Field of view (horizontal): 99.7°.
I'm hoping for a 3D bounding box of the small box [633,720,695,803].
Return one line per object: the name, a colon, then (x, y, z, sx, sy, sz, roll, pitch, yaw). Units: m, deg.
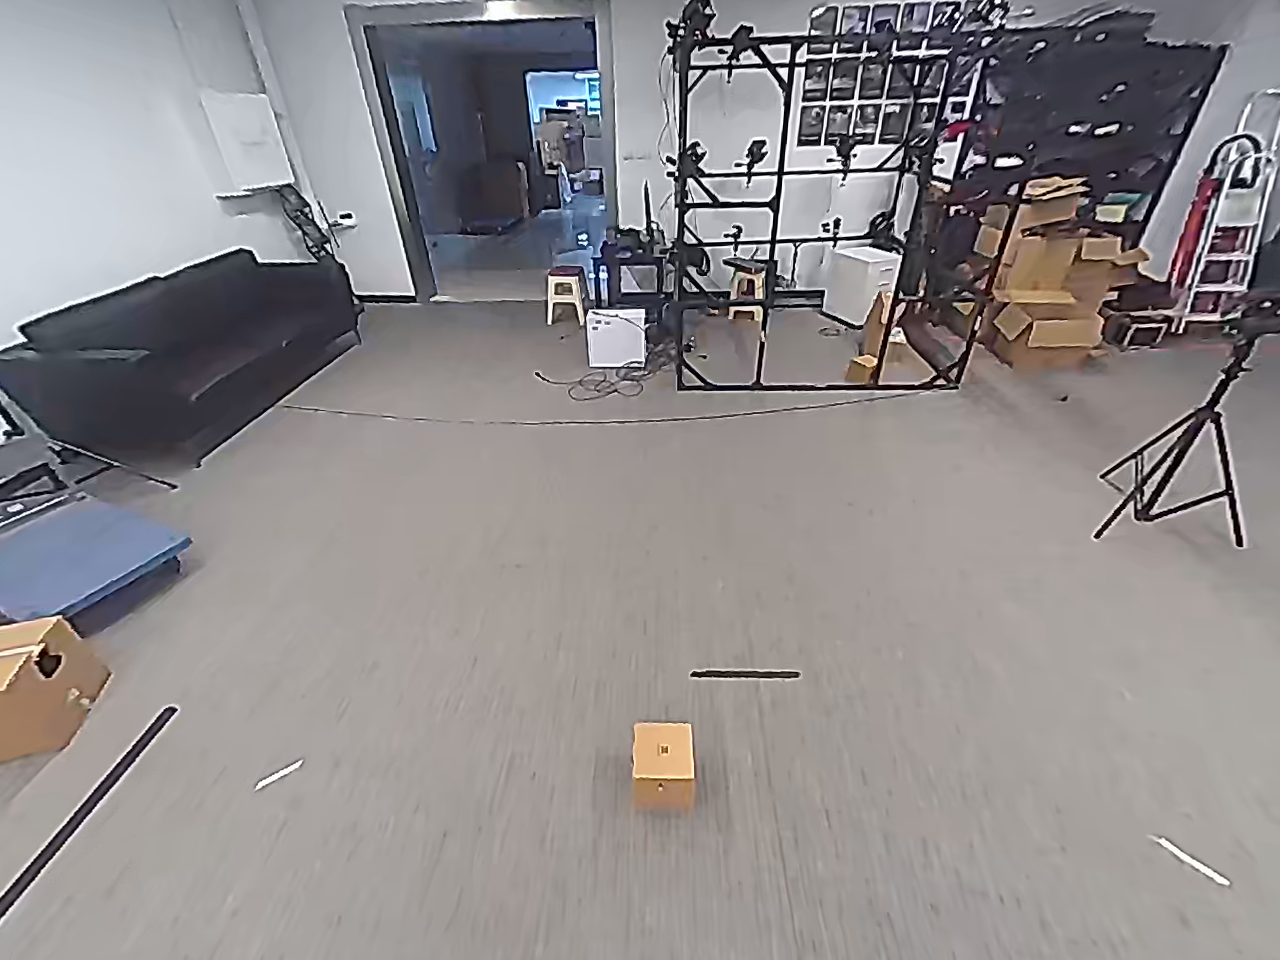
small box: (0.071, 0.842, 1.615, 0.179, 0.176, 0.168, -1, 35, 3)
